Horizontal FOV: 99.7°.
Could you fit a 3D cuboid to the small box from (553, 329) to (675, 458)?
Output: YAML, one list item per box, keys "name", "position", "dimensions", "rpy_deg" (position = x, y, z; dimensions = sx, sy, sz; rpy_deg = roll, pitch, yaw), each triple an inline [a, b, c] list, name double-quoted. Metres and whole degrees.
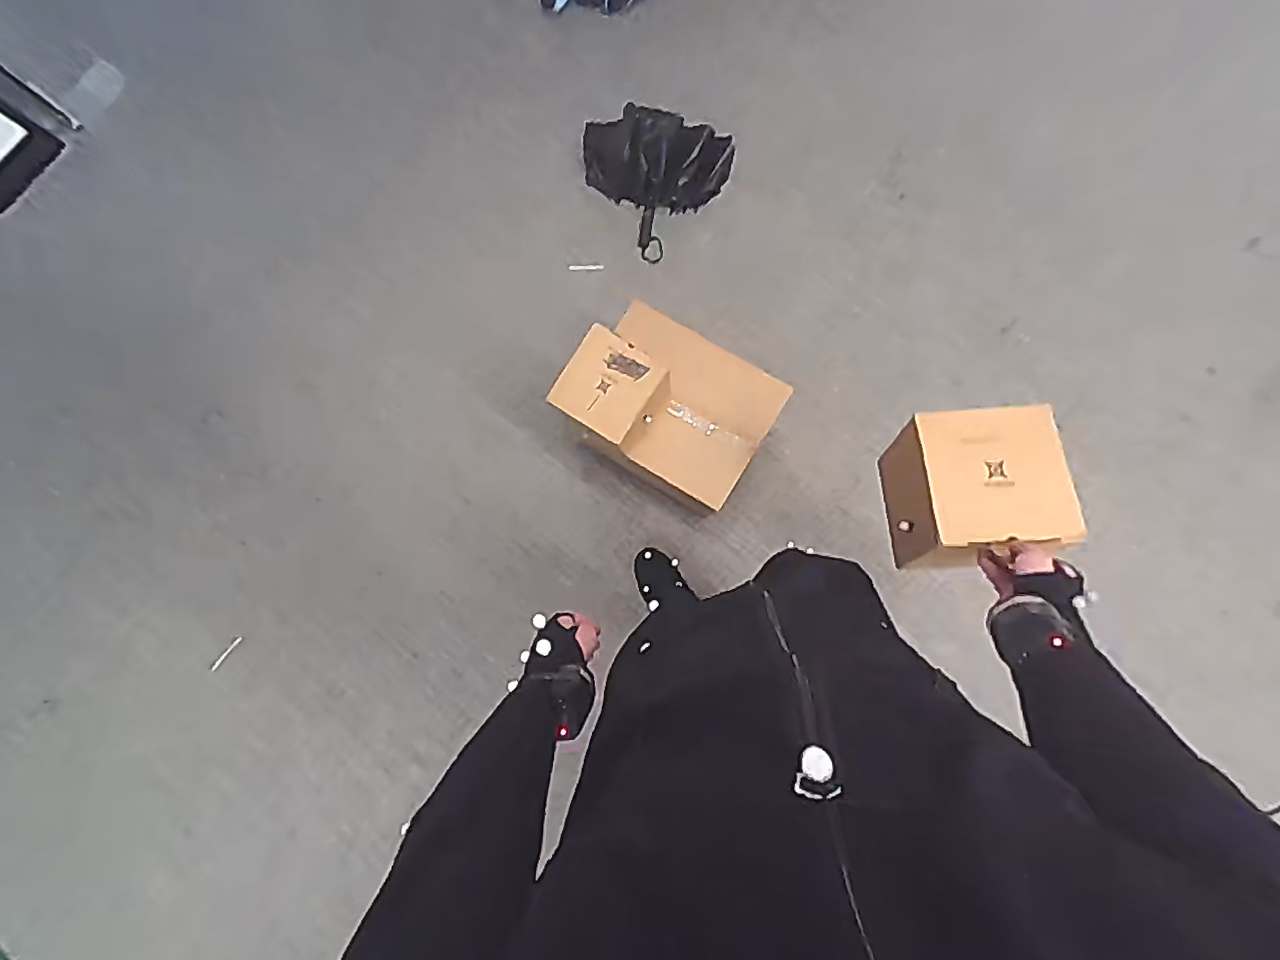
- name: "small box"
  position: [-0.045, -0.162, 1.078]
  dimensions: [0.168, 0.176, 0.179]
  rpy_deg: [33, 89, 7]

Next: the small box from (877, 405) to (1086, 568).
- name: "small box"
  position: [0.440, 0.020, 0.732]
  dimensions: [0.168, 0.176, 0.179]
  rpy_deg: [-4, 69, 5]
